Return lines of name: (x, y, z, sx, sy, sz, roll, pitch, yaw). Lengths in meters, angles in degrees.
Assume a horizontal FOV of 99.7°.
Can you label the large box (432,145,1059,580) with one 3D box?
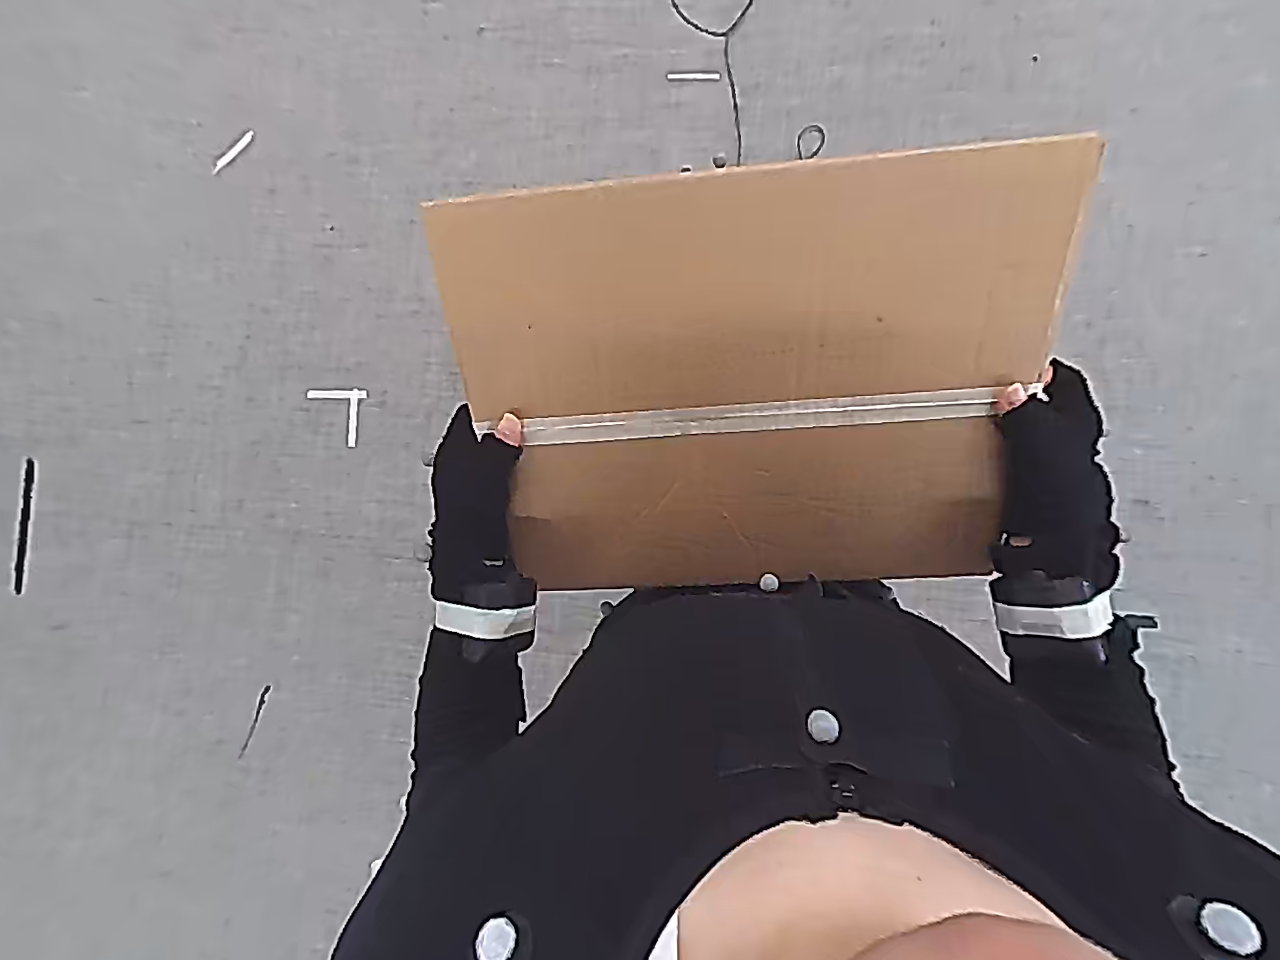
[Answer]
large box: (0.080, -0.126, 0.542, 0.408, 0.320, 0.320, -3, 119, 5)
